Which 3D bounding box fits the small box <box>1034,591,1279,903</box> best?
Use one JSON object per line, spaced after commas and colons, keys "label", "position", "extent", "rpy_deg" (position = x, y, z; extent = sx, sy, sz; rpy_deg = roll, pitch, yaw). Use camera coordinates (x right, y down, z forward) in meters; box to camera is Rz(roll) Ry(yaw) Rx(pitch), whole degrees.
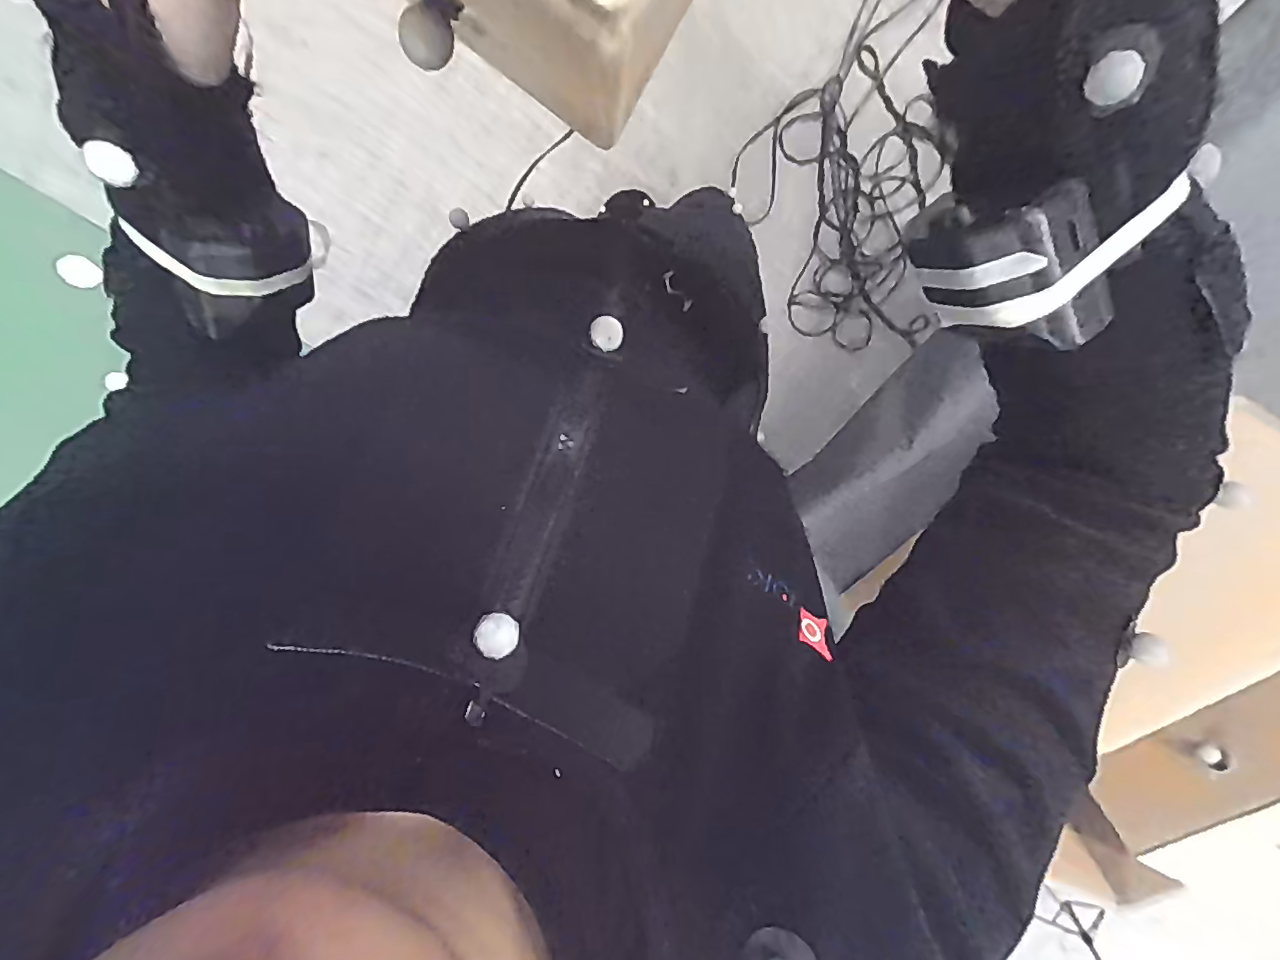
{"label": "small box", "position": [0.509, 0.238, 0.491], "extent": [0.168, 0.176, 0.179], "rpy_deg": [31, 118, -19]}

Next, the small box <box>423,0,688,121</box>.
{"label": "small box", "position": [-0.029, -0.199, 0.090], "extent": [0.168, 0.176, 0.179], "rpy_deg": [29, 111, -18]}
